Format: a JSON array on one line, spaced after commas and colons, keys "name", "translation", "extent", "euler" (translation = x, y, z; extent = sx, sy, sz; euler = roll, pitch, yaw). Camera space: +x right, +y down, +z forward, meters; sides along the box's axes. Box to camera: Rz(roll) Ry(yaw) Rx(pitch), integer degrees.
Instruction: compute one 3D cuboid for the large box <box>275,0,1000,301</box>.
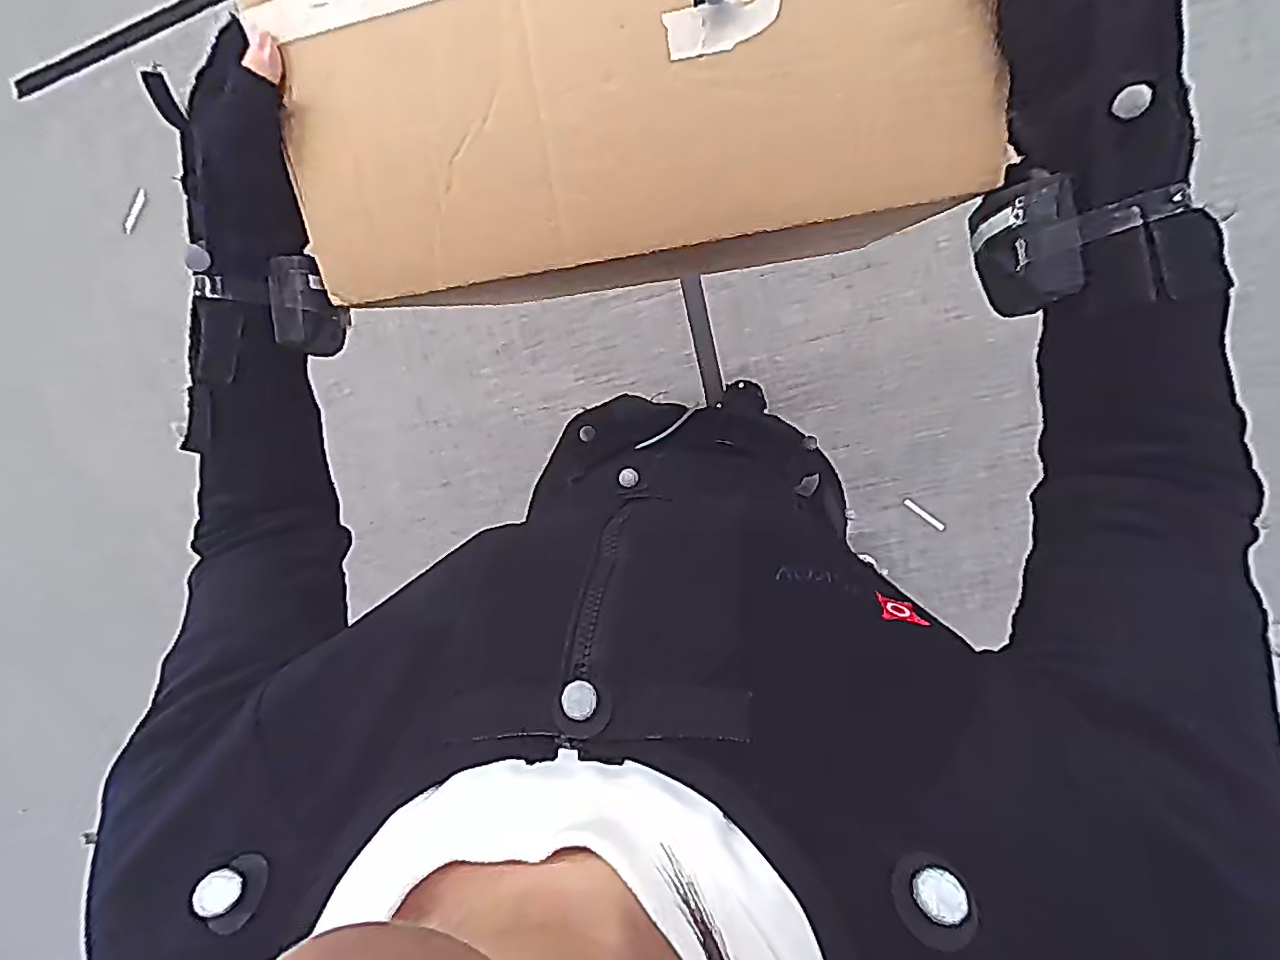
[{"name": "large box", "translation": [-0.003, -0.337, 0.430], "extent": [0.408, 0.320, 0.320], "euler": [-6, 108, 11]}]
